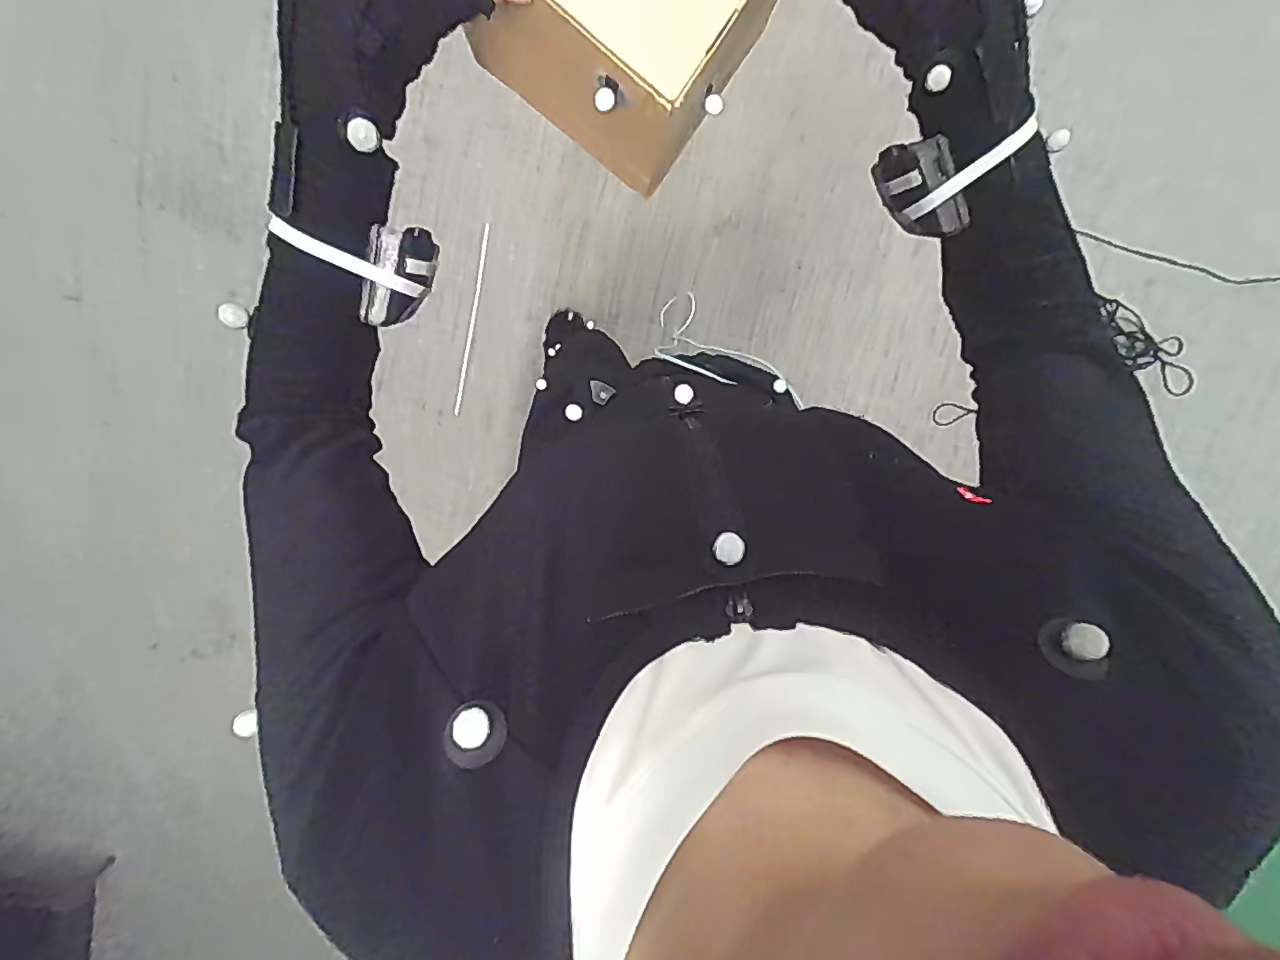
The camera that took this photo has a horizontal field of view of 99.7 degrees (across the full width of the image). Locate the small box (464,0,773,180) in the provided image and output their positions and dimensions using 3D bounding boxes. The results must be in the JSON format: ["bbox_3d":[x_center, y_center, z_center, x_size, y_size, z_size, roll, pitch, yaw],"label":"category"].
[{"bbox_3d":[-0.011,-0.345,0.364,0.179,0.176,0.168,36,95,-13],"label":"small box"}]
